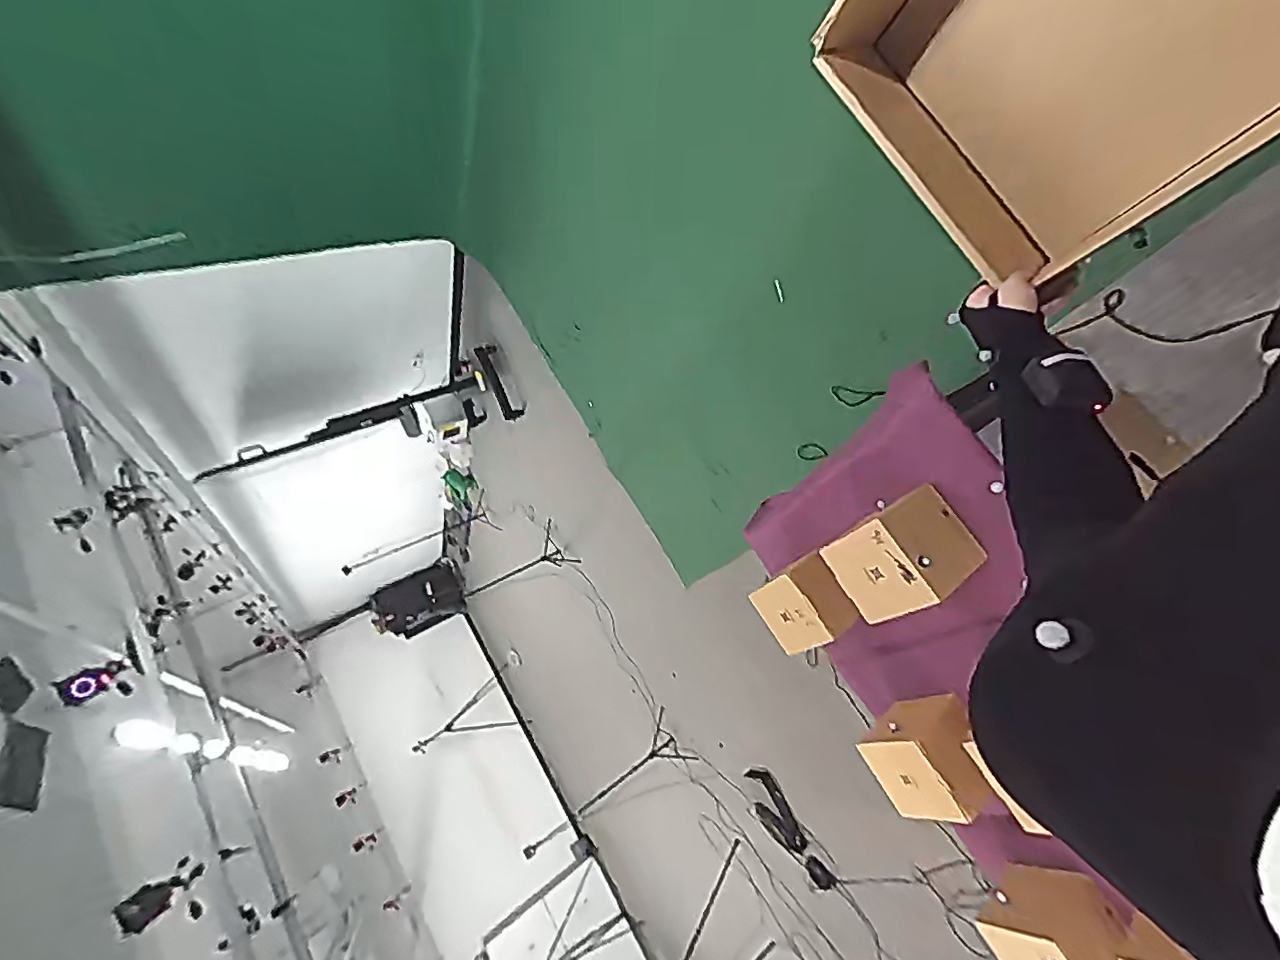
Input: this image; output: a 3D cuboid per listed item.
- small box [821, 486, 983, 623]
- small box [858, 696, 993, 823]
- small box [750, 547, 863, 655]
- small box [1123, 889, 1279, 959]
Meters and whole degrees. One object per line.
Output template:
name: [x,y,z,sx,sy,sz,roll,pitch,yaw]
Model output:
small box: [0.484,0.139,1.005,0.168,0.176,0.179,57,151,13]
small box: [0.607,0.576,1.129,0.168,0.176,0.179,58,148,14]
small box: [0.395,0.274,1.242,0.168,0.176,0.179,56,148,13]
small box: [0.889,0.753,0.801,0.168,0.176,0.179,57,151,16]
